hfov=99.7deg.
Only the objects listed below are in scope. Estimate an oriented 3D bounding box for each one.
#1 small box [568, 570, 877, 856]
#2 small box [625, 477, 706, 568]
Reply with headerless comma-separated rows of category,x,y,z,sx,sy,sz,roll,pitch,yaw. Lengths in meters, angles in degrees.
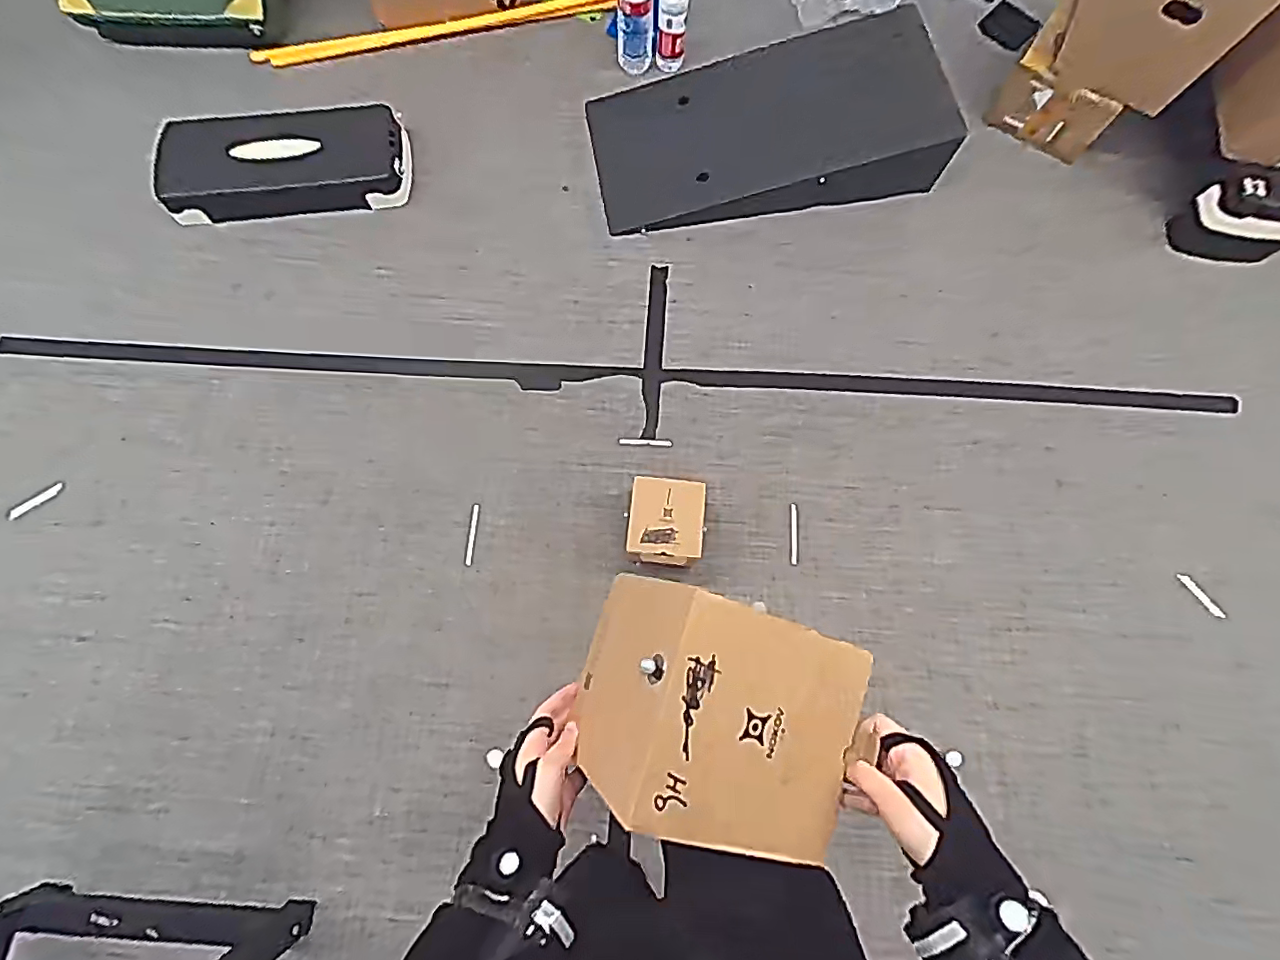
small box,0.062,0.182,0.467,0.179,0.176,0.168,25,75,-20
small box,0.056,0.106,1.265,0.168,0.176,0.179,6,74,0
